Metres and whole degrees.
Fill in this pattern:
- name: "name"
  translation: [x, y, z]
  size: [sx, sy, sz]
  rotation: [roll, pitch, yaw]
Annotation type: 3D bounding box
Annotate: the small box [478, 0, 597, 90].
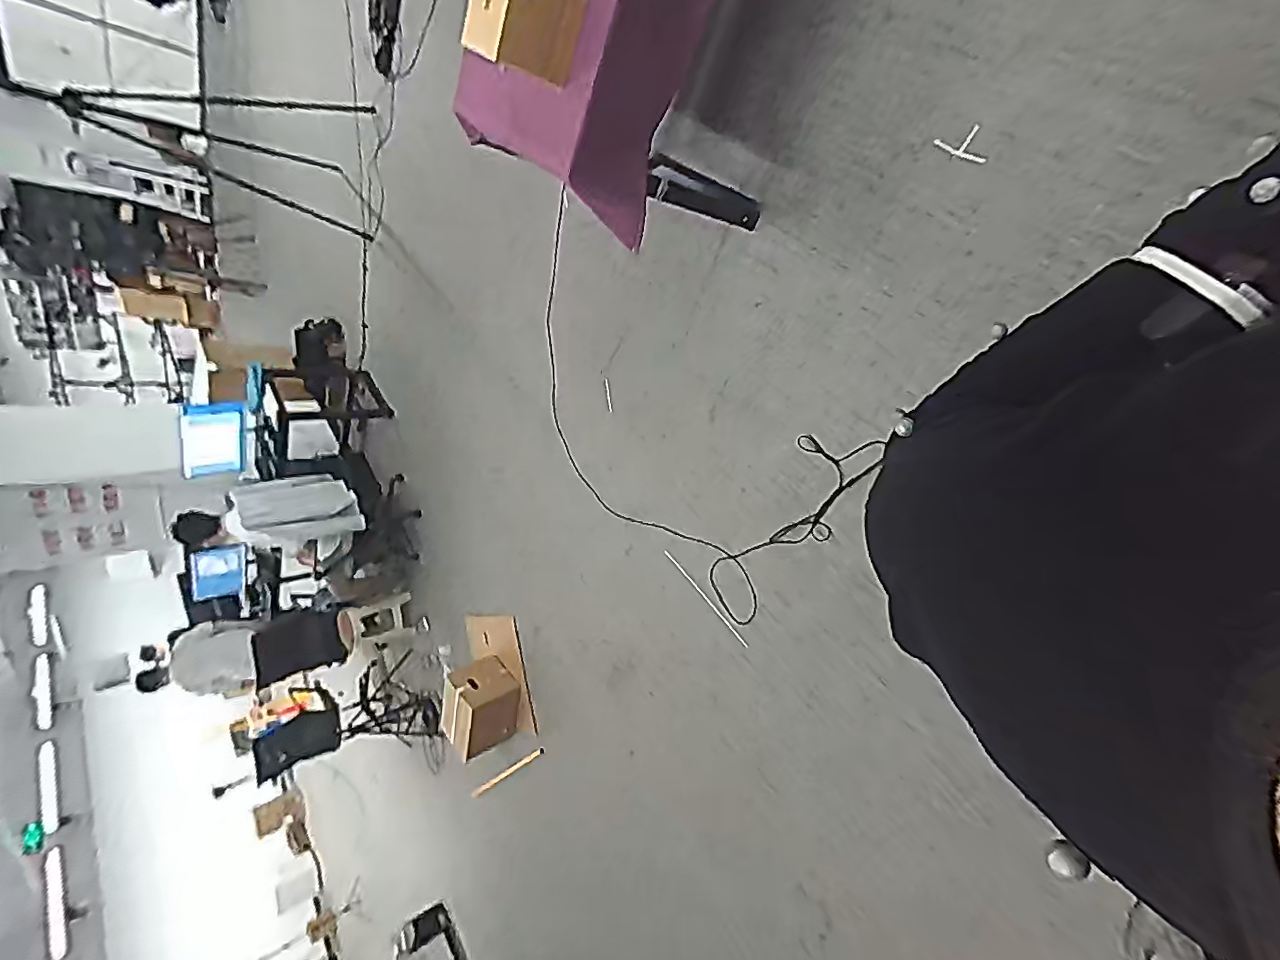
- name: "small box"
  translation: [-0.215, -0.964, 1.137]
  size: [0.168, 0.176, 0.179]
  rotation: [49, 127, 30]
